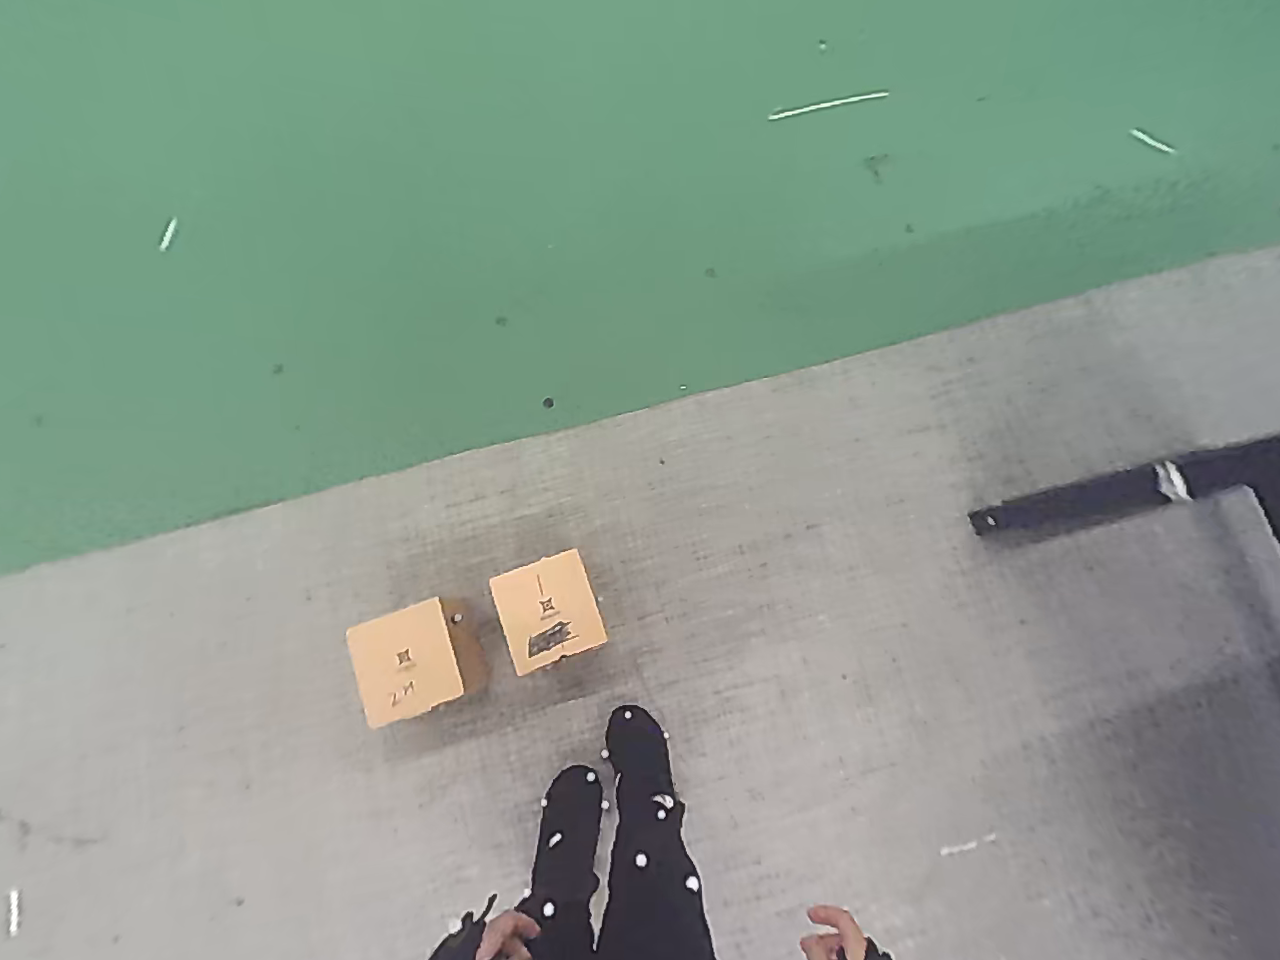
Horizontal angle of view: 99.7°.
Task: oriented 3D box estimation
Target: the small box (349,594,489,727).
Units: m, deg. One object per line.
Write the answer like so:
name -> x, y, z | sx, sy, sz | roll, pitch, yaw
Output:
small box -> -0.395, 0.322, 0.993 | 0.168, 0.176, 0.179 | -20, 79, -5

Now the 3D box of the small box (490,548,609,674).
small box -> -0.161, 0.242, 1.016 | 0.168, 0.176, 0.179 | -19, 78, -6
